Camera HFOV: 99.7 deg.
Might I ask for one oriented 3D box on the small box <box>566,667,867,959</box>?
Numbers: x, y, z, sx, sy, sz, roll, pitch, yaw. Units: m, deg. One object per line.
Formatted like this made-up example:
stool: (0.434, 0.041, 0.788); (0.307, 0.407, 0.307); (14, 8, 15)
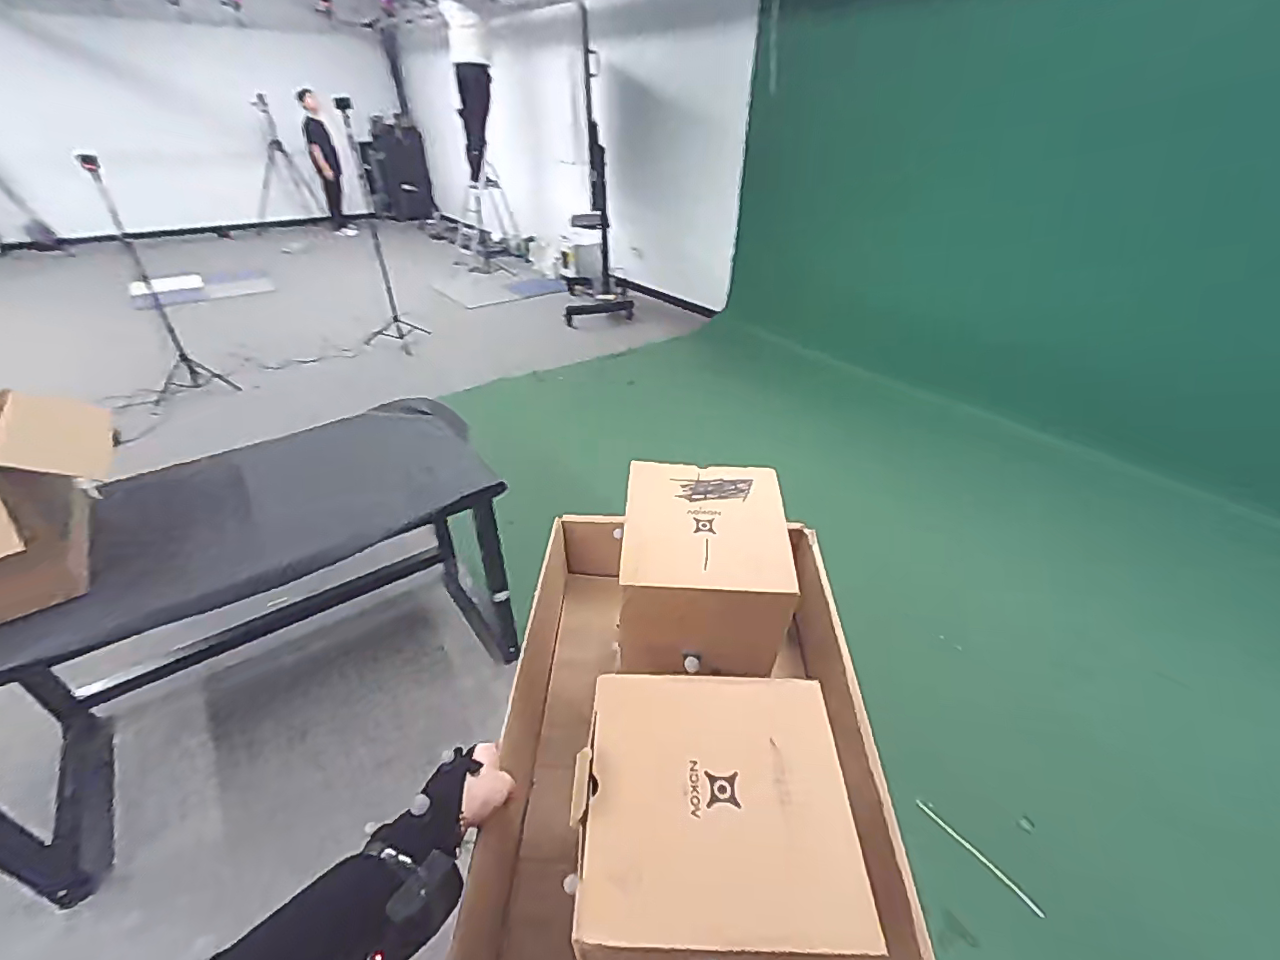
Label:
small box: (0.044, 0.265, 0.419); (0.179, 0.176, 0.168); (2, 40, -1)
